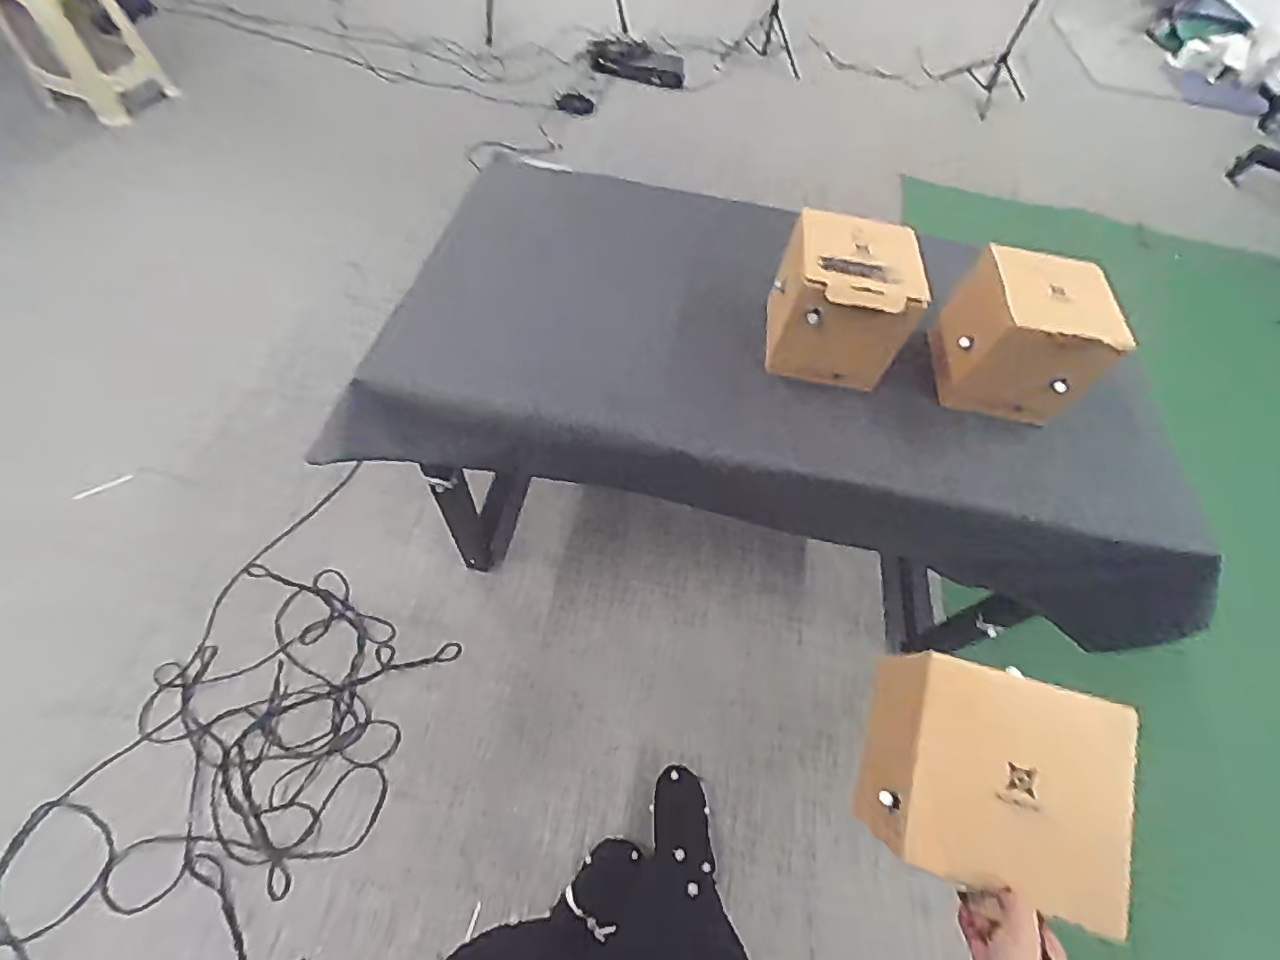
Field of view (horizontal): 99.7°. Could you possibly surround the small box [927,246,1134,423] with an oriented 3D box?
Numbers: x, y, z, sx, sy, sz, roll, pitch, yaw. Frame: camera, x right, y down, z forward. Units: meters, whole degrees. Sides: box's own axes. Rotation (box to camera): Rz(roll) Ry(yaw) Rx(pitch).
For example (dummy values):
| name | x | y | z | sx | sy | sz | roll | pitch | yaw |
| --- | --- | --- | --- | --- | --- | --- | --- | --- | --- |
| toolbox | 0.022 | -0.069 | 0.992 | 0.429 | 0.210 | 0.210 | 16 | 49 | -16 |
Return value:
| name | x | y | z | sx | sy | sz | roll | pitch | yaw |
| --- | --- | --- | --- | --- | --- | --- | --- | --- | --- |
| small box | 0.557 | -0.208 | 0.802 | 0.168 | 0.176 | 0.179 | 11 | 57 | -1 |
